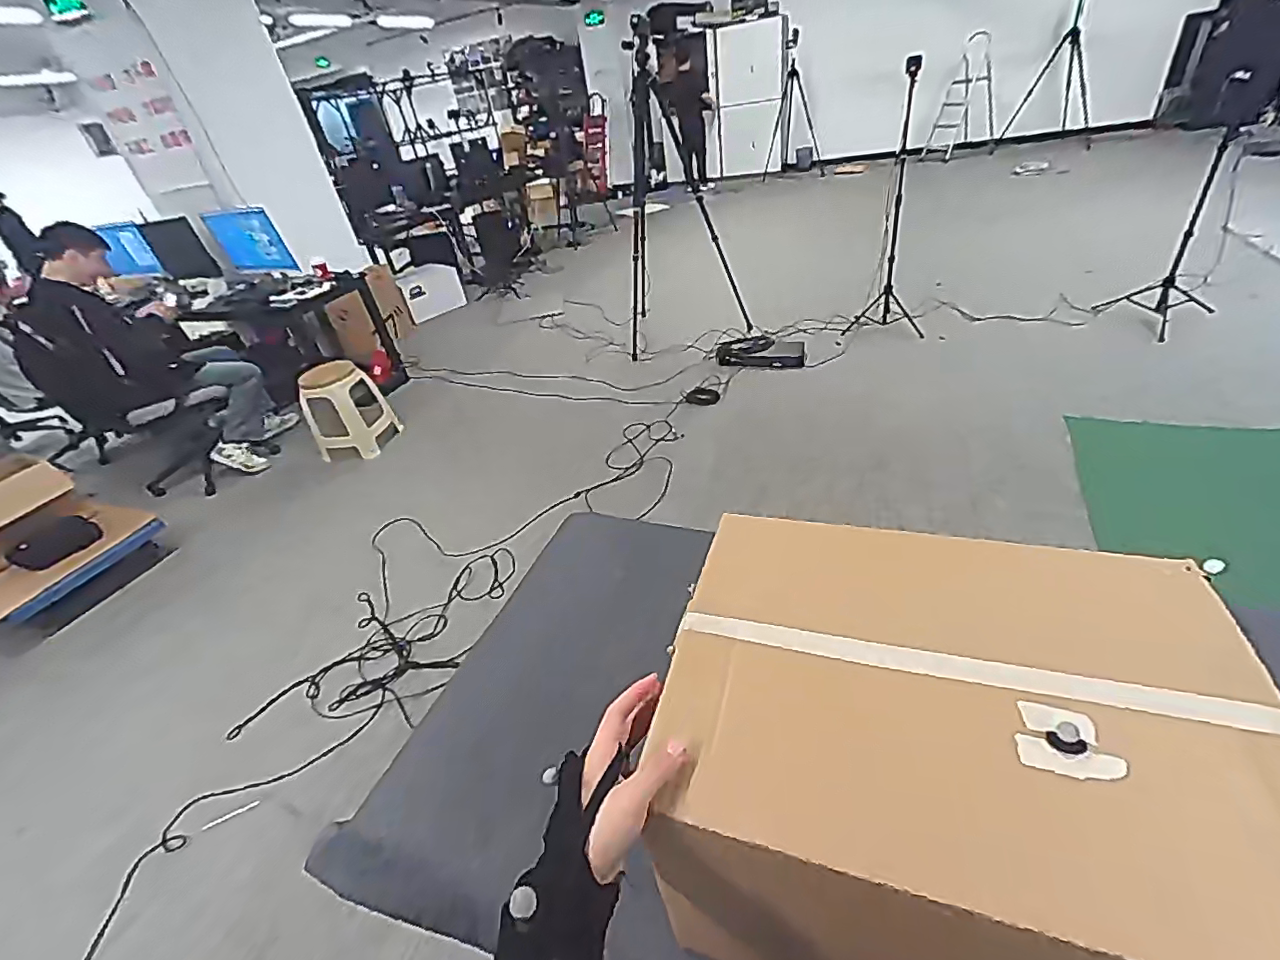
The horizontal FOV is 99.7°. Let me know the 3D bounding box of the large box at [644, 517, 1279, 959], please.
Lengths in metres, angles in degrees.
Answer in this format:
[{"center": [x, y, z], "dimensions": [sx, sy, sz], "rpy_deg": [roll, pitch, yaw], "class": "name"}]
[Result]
[{"center": [0.250, 0.265, 0.508], "dimensions": [0.408, 0.320, 0.320], "rpy_deg": [6, 39, 20], "class": "large box"}]
